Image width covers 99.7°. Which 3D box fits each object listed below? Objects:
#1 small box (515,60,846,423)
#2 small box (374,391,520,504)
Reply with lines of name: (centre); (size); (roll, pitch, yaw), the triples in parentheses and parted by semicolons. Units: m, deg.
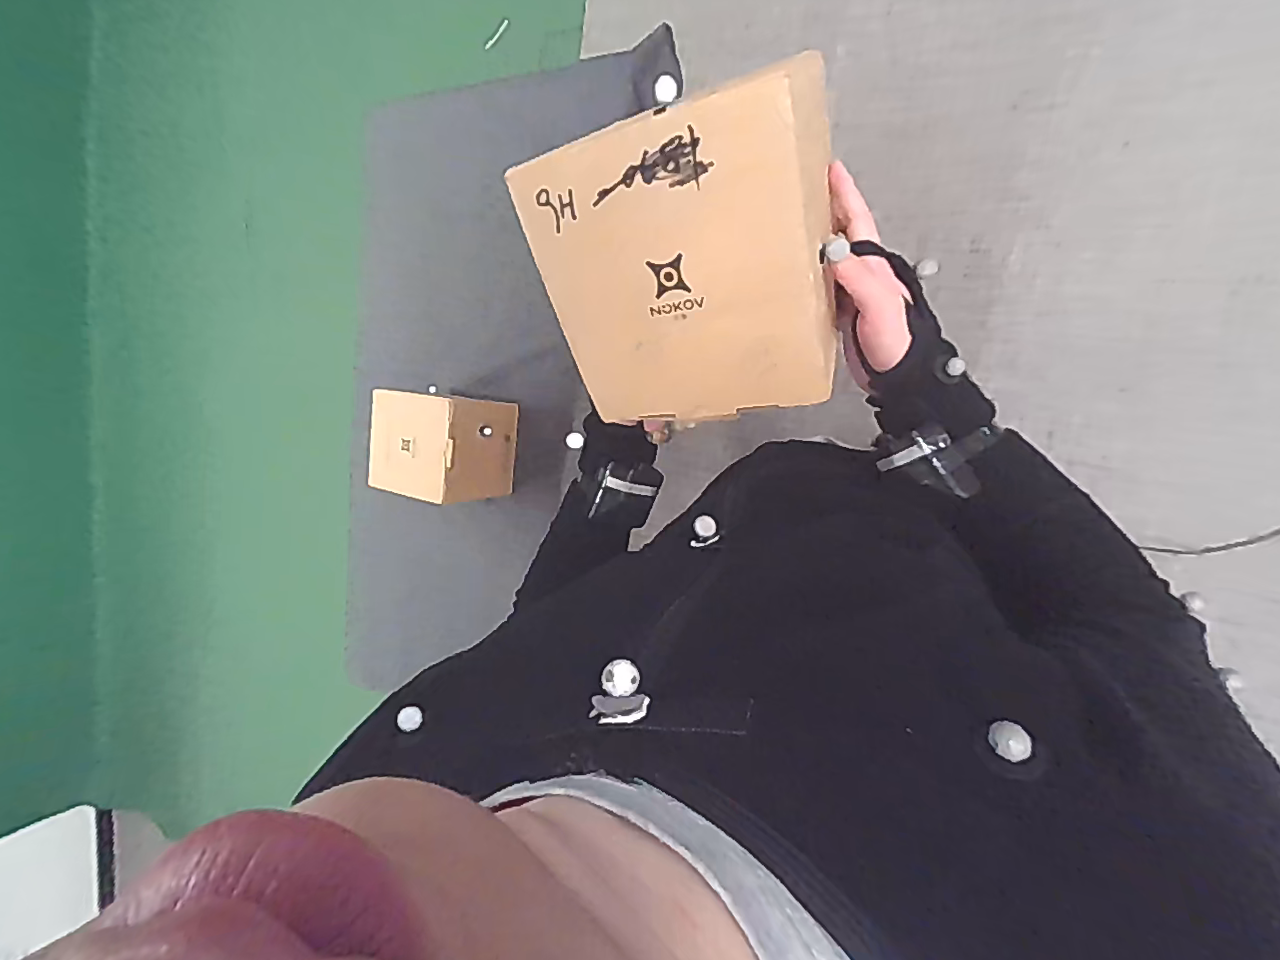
small box: (0.050, -0.162, 0.383); (0.168, 0.176, 0.179); (-3, 127, 26)
small box: (-0.333, -0.061, 0.950); (0.179, 0.176, 0.168); (11, 98, 26)
